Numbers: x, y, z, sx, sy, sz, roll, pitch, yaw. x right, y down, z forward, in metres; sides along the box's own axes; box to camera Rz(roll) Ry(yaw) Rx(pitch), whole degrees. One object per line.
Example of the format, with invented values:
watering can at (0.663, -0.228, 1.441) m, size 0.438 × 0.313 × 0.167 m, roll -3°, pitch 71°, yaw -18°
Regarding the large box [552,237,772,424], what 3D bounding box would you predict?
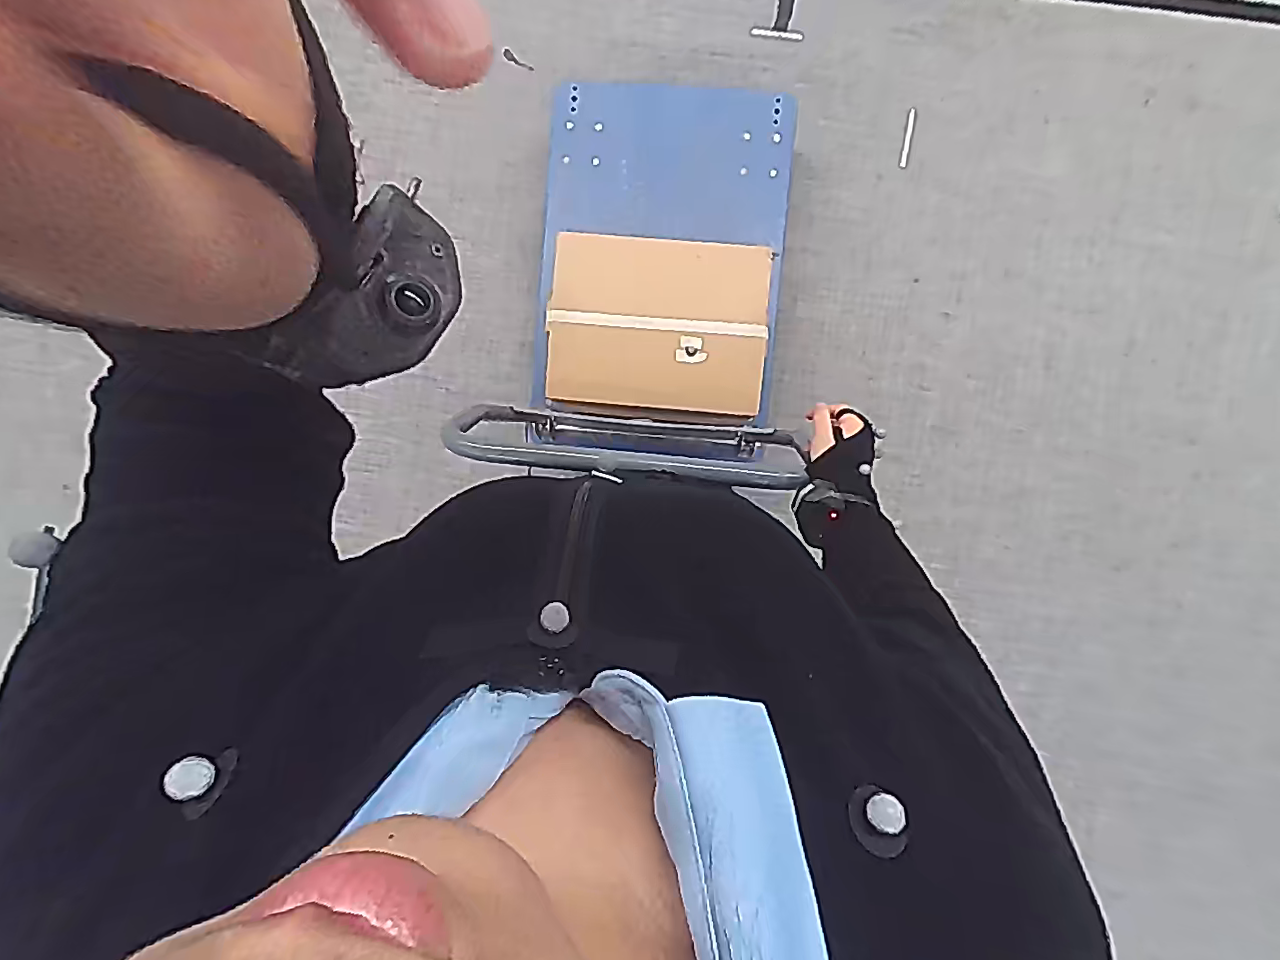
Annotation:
large box at (0.040, -0.296, 1.166) m, size 0.408 × 0.320 × 0.320 m, roll 5°, pitch 93°, yaw 1°
